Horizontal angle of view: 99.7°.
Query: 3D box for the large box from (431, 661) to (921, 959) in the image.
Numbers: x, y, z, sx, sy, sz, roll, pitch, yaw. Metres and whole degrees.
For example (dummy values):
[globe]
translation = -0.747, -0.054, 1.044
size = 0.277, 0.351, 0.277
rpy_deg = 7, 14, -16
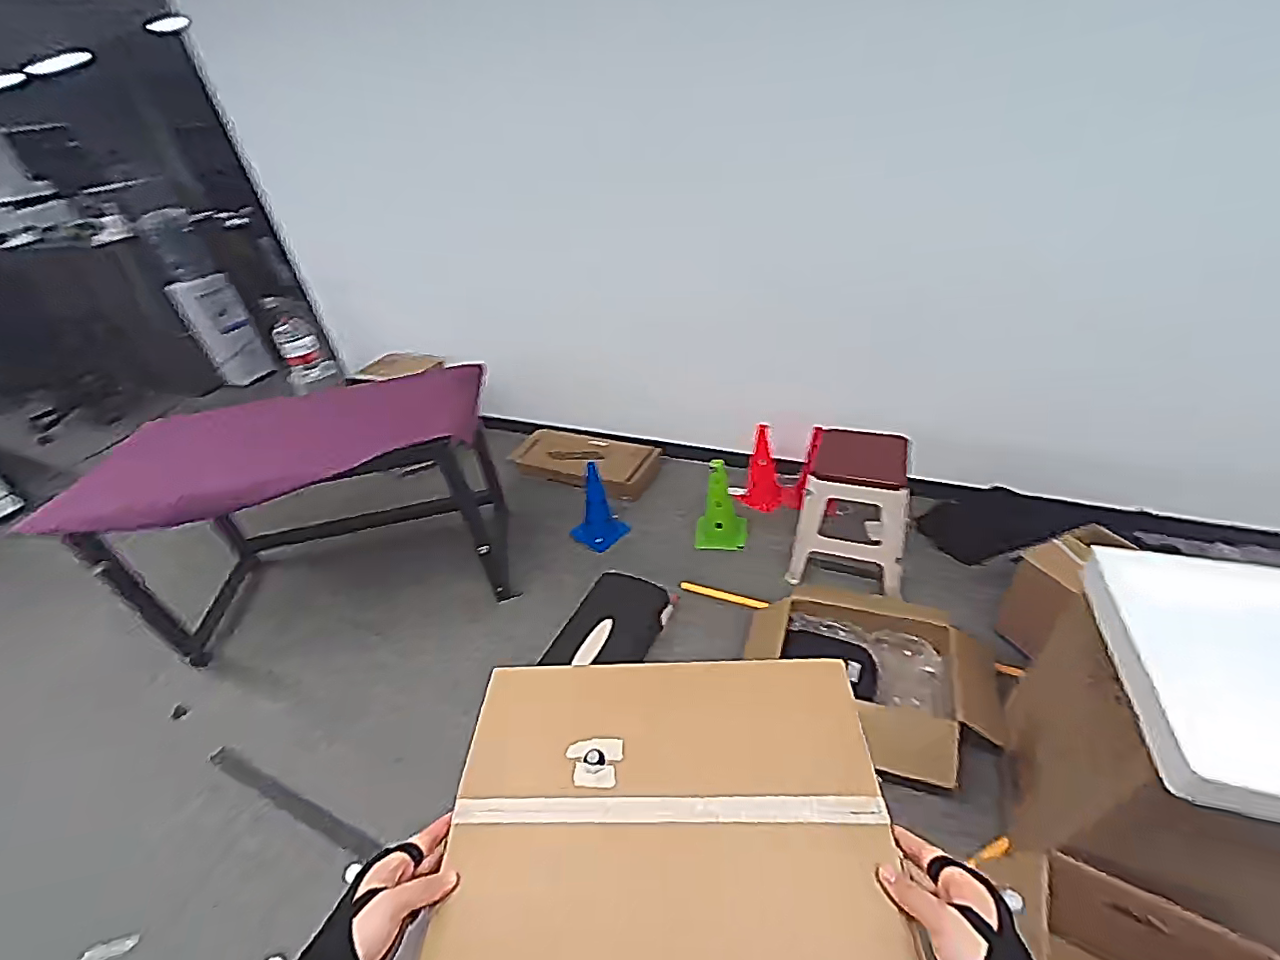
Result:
[large box]
translation = 0.042, 0.436, 0.607
size = 0.408, 0.320, 0.320
rpy_deg = -6, 38, 6
